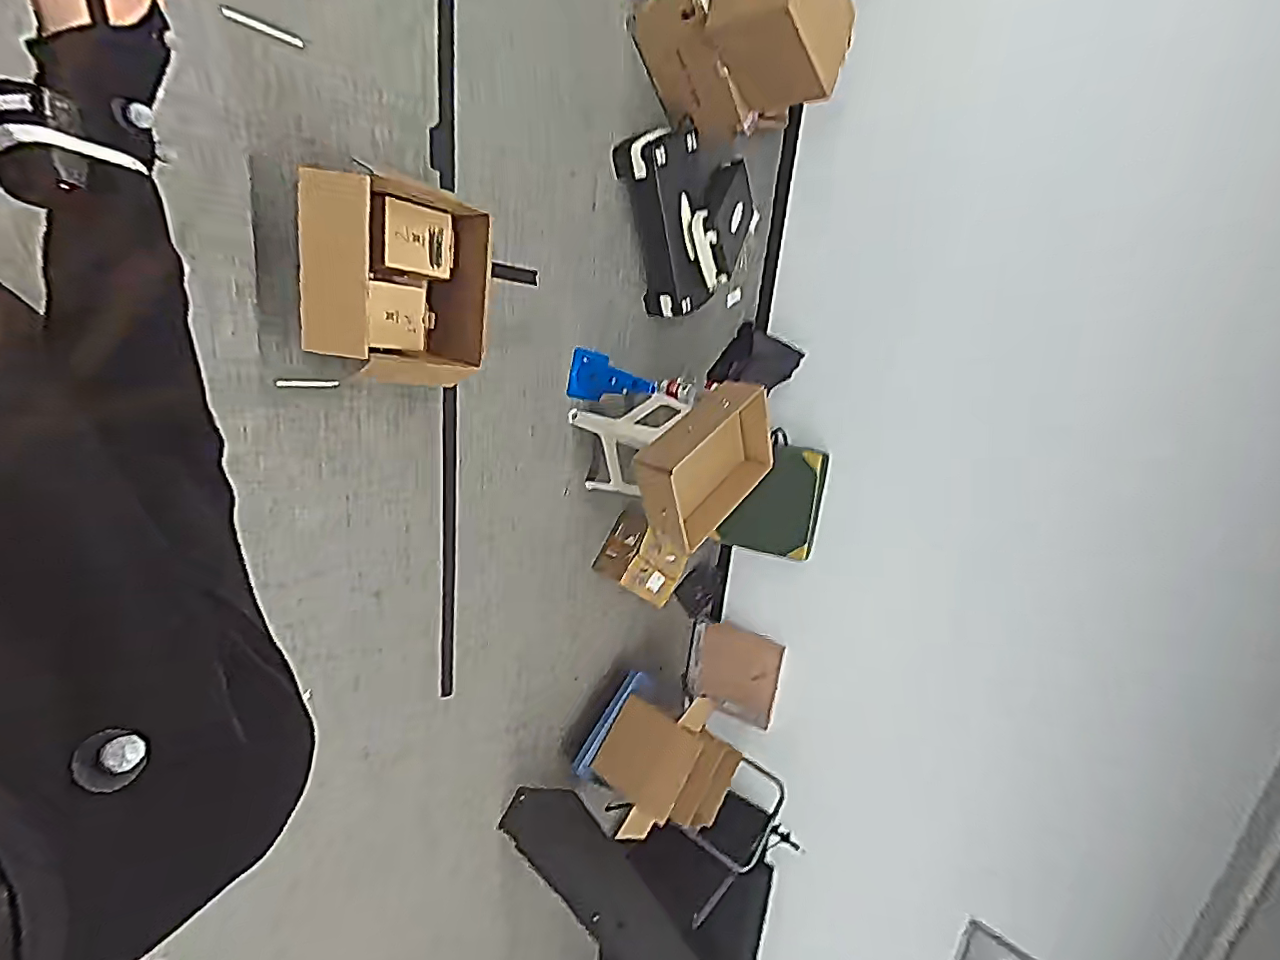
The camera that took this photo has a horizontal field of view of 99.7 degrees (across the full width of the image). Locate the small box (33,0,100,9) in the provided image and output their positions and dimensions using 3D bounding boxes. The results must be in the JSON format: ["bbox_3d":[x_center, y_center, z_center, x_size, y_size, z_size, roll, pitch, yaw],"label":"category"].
[{"bbox_3d":[-0.469,-0.485,0.376,0.168,0.176,0.179,15,96,-59],"label":"small box"}]
